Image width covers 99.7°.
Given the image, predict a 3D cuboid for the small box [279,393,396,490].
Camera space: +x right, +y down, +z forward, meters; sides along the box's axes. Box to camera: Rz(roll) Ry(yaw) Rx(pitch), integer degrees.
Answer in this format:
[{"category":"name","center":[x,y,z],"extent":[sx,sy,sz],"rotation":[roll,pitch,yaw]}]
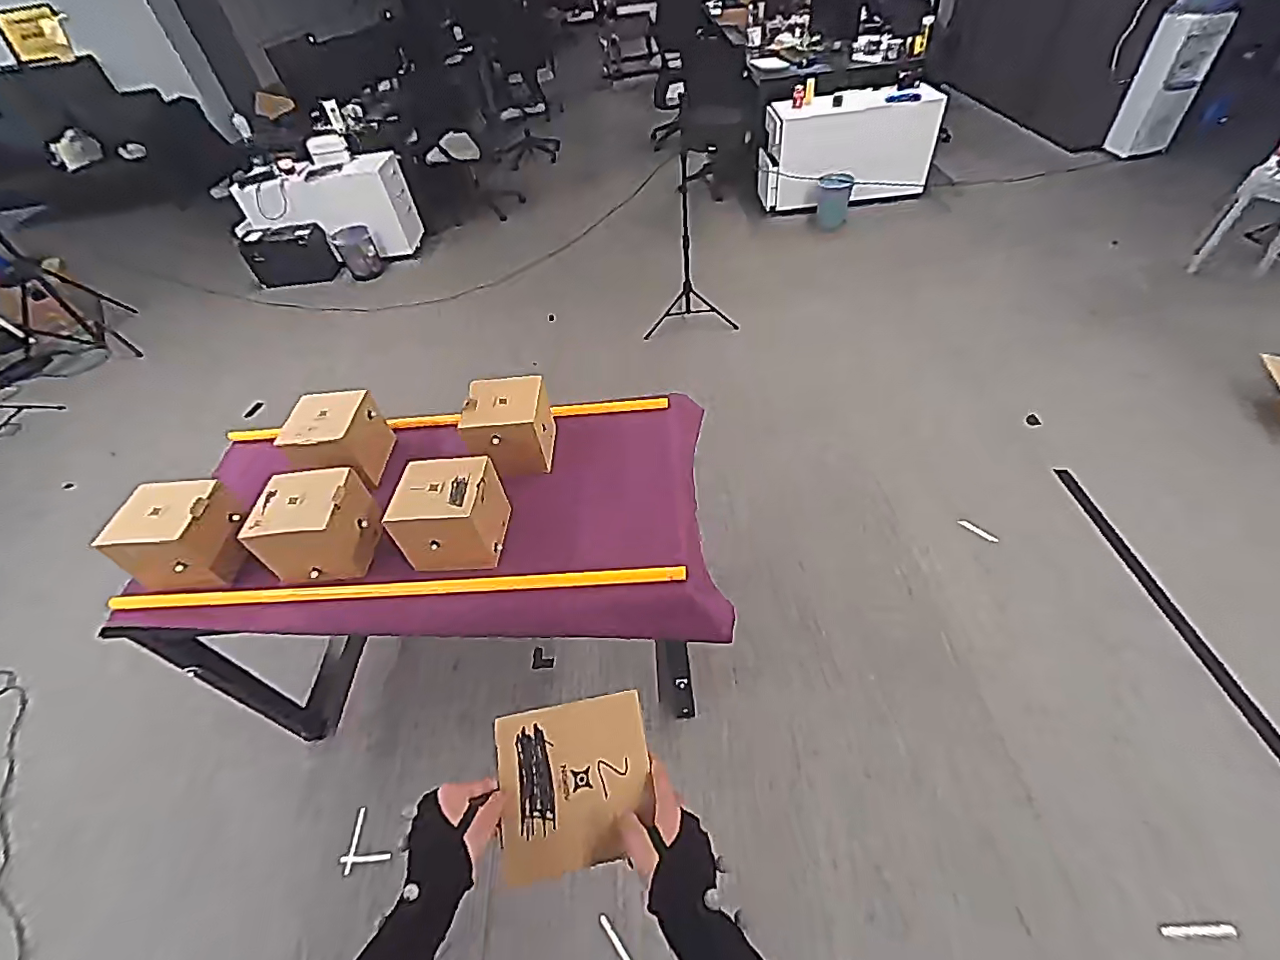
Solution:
[{"category":"small box","center":[-0.725,-0.090,1.322],"extent":[0.168,0.176,0.179],"rotation":[-4,49,4]}]

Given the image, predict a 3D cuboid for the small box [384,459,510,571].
[{"category":"small box","center":[-0.385,0.076,1.121],"extent":[0.179,0.176,0.168],"rotation":[-4,45,6]}]

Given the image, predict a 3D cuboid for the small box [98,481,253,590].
[{"category":"small box","center":[-0.963,0.120,1.157],"extent":[0.179,0.176,0.168],"rotation":[-3,46,2]}]

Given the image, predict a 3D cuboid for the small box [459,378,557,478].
[{"category":"small box","center":[-0.304,-0.121,1.293],"extent":[0.179,0.176,0.168],"rotation":[-5,48,5]}]

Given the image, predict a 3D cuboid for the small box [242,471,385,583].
[{"category":"small box","center":[-0.669,0.101,1.137],"extent":[0.179,0.176,0.168],"rotation":[-5,47,3]}]
